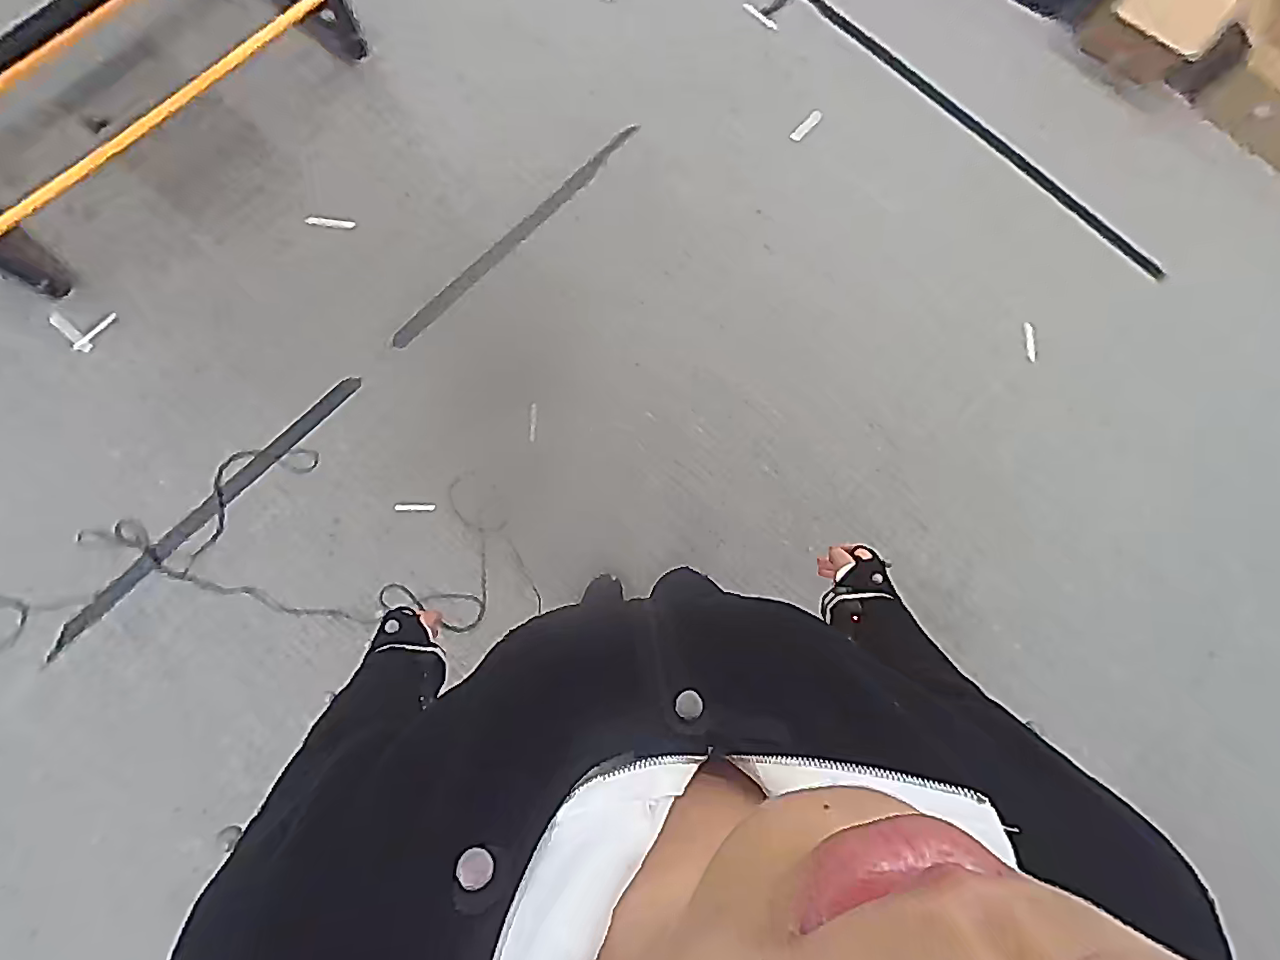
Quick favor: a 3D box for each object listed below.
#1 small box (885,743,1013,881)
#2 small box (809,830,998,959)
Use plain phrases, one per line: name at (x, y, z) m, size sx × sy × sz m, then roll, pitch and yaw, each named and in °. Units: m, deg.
small box at (0.554, 0.570, 0.902) m, size 0.179 × 0.176 × 0.168 m, roll 44°, pitch 78°, yaw 7°
small box at (0.408, 0.716, 0.866) m, size 0.179 × 0.176 × 0.168 m, roll 43°, pitch 81°, yaw 6°
